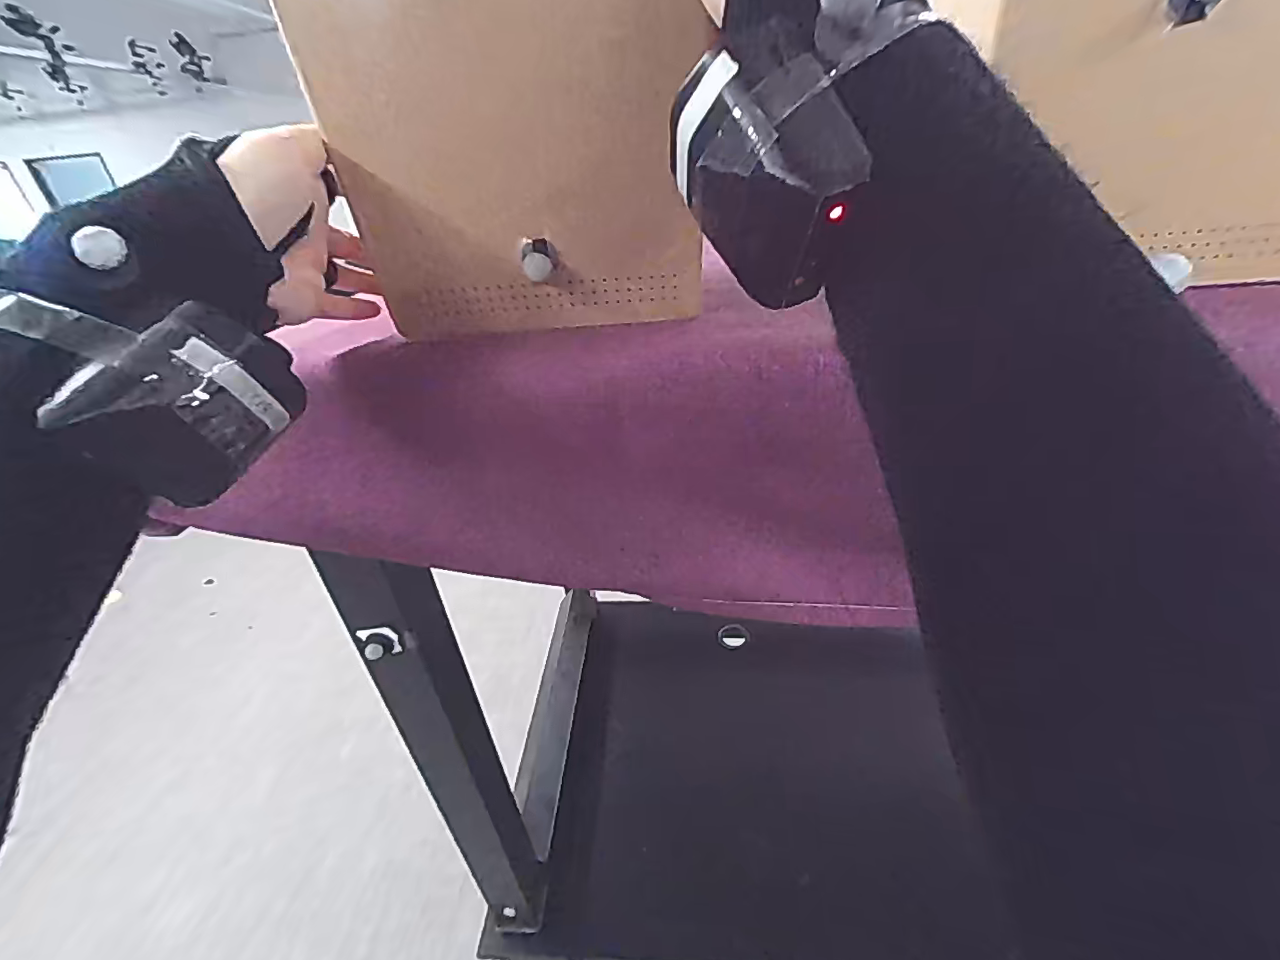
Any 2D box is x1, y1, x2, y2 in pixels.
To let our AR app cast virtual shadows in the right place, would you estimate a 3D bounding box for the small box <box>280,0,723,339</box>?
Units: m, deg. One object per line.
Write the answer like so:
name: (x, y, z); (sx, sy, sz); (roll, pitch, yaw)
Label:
small box: (-0.056, -0.196, 0.311); (0.179, 0.176, 0.168); (-5, 41, -1)
